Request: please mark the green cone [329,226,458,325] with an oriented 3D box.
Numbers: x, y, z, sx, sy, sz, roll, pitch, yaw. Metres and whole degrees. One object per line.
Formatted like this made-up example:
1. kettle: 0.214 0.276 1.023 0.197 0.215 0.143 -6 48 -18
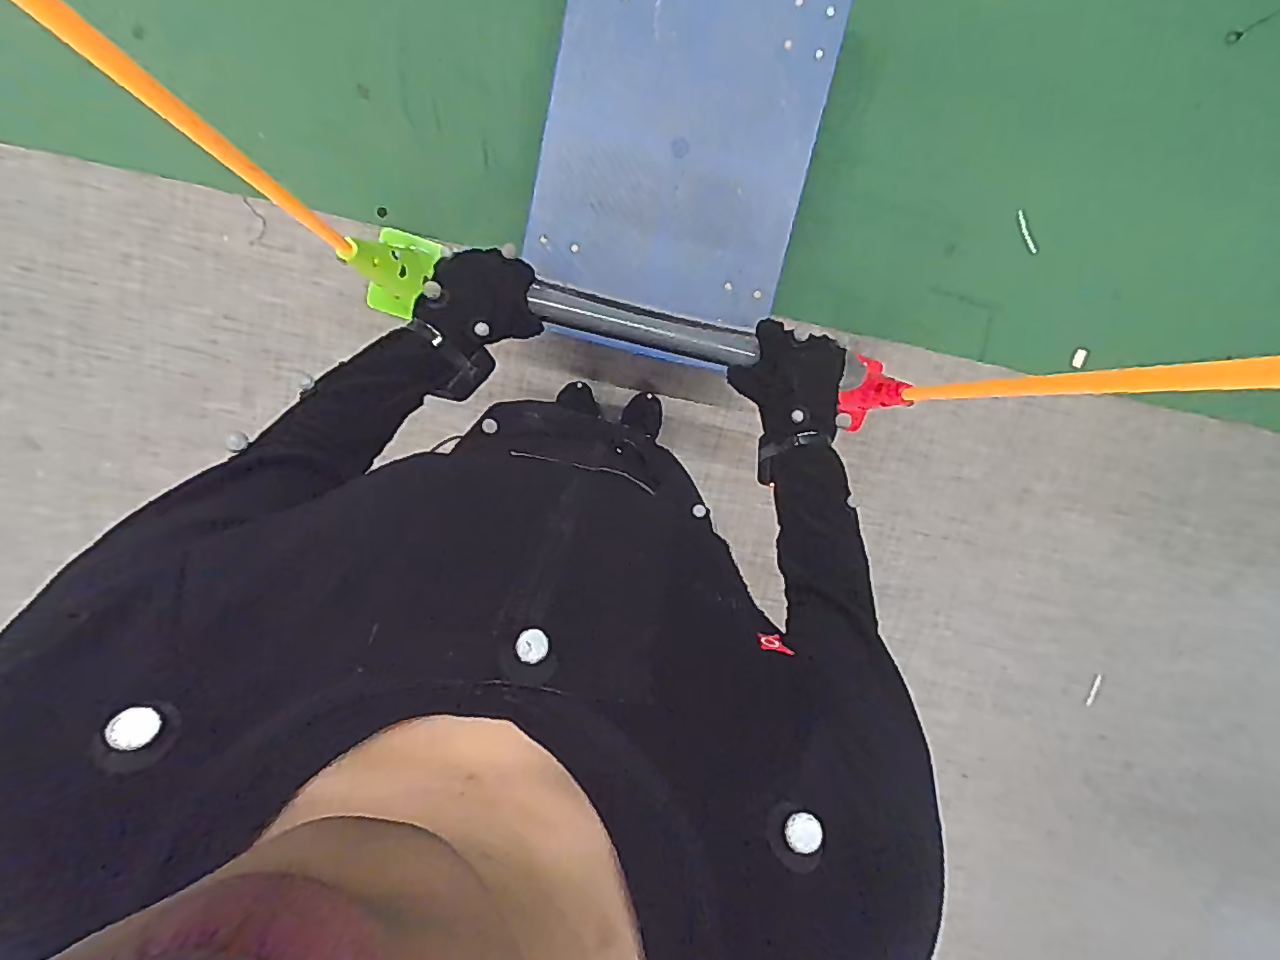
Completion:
1. green cone: -0.563 -0.477 1.183 0.202 0.368 0.200 16 99 -5
